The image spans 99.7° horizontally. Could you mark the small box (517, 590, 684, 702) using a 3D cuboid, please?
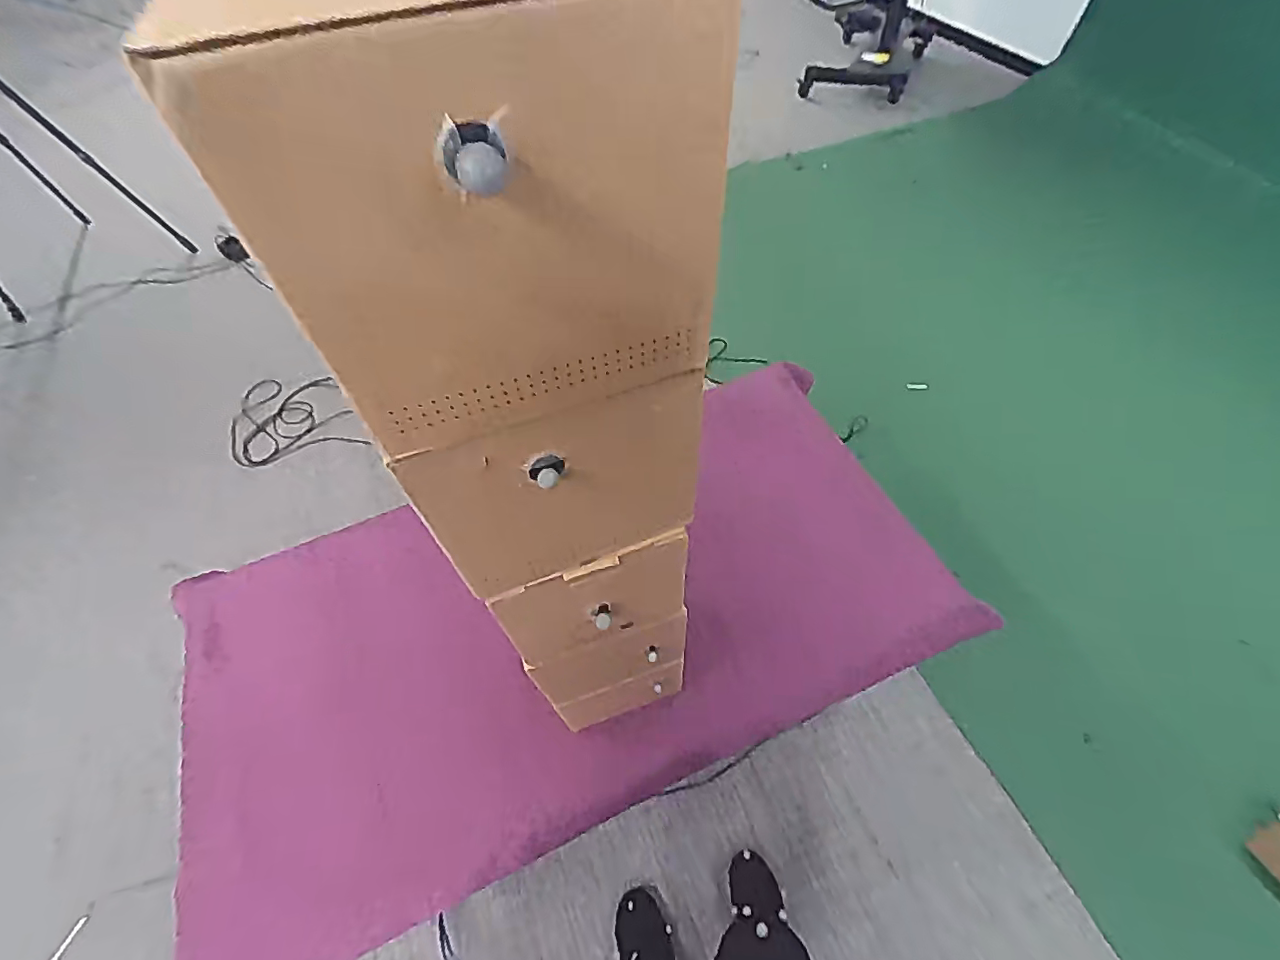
[{"bbox_3d":[-0.058,0.147,0.657,0.179,0.176,0.168,-17,56,-9],"label":"small box"}]

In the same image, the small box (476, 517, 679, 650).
[{"bbox_3d":[-0.067,0.049,0.528,0.168,0.176,0.179,-17,56,-10],"label":"small box"}]

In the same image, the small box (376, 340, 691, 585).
[{"bbox_3d":[-0.074,-0.048,0.395,0.179,0.176,0.168,-18,56,-11],"label":"small box"}]

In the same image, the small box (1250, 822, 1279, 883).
[{"bbox_3d":[1.518,0.847,1.163,0.168,0.176,0.179,-24,58,-13],"label":"small box"}]

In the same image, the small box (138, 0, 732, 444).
[{"bbox_3d":[-0.075,-0.146,0.265,0.179,0.176,0.168,-19,56,-10],"label":"small box"}]
